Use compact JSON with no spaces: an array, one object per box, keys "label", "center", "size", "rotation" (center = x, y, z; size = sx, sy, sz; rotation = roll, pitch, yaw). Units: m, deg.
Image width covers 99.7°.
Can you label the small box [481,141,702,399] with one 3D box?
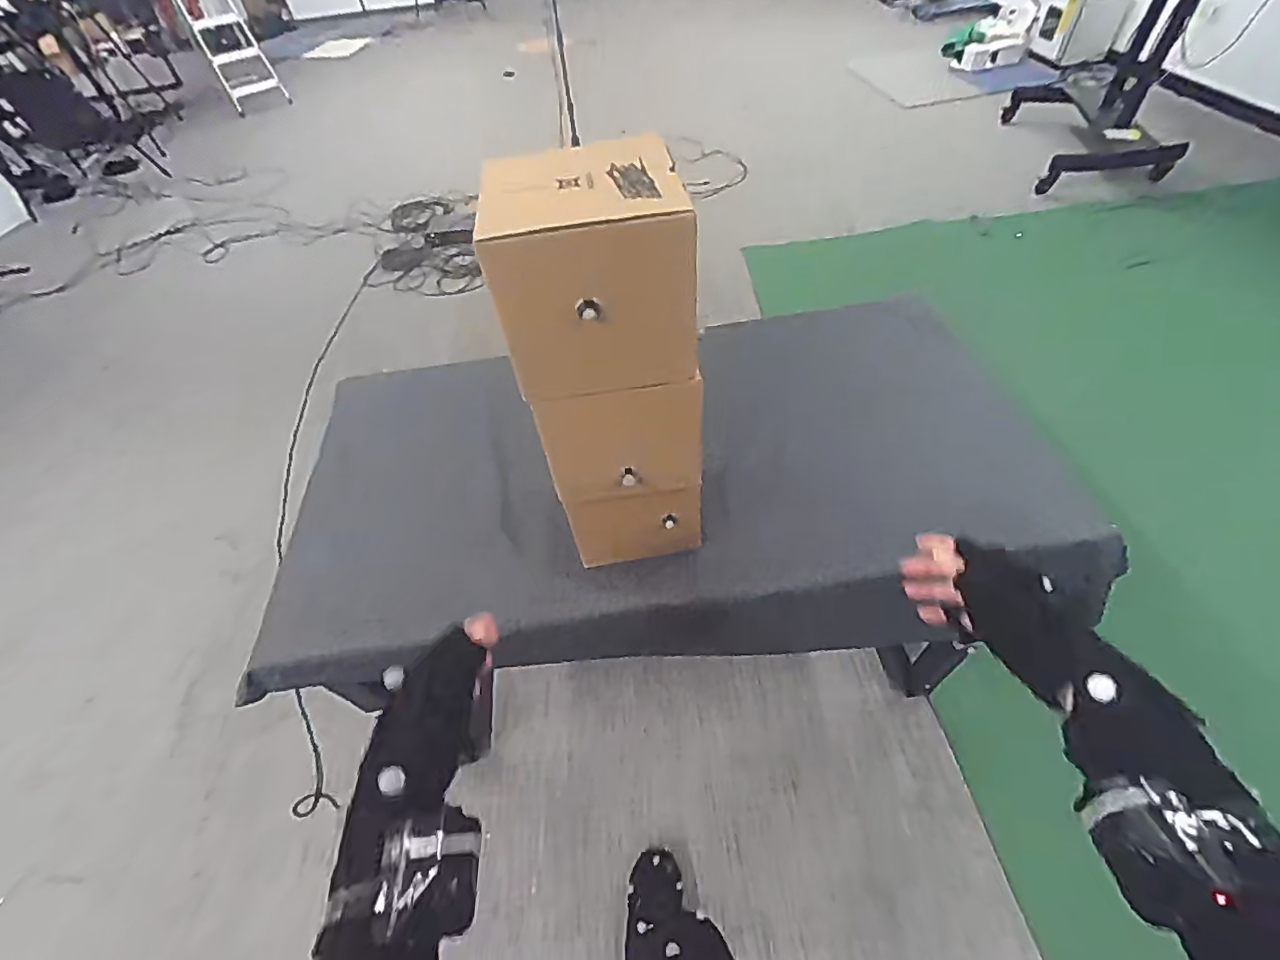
[{"label":"small box","center":[-0.040,-0.201,0.530],"size":[0.179,0.176,0.168],"rotation":[-8,50,-1]}]

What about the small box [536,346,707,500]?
[{"label":"small box","center":[-0.021,-0.094,0.655],"size":[0.179,0.176,0.168],"rotation":[-7,49,-1]}]

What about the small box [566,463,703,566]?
[{"label":"small box","center":[-0.010,0.004,0.785],"size":[0.179,0.176,0.168],"rotation":[-10,49,-1]}]
